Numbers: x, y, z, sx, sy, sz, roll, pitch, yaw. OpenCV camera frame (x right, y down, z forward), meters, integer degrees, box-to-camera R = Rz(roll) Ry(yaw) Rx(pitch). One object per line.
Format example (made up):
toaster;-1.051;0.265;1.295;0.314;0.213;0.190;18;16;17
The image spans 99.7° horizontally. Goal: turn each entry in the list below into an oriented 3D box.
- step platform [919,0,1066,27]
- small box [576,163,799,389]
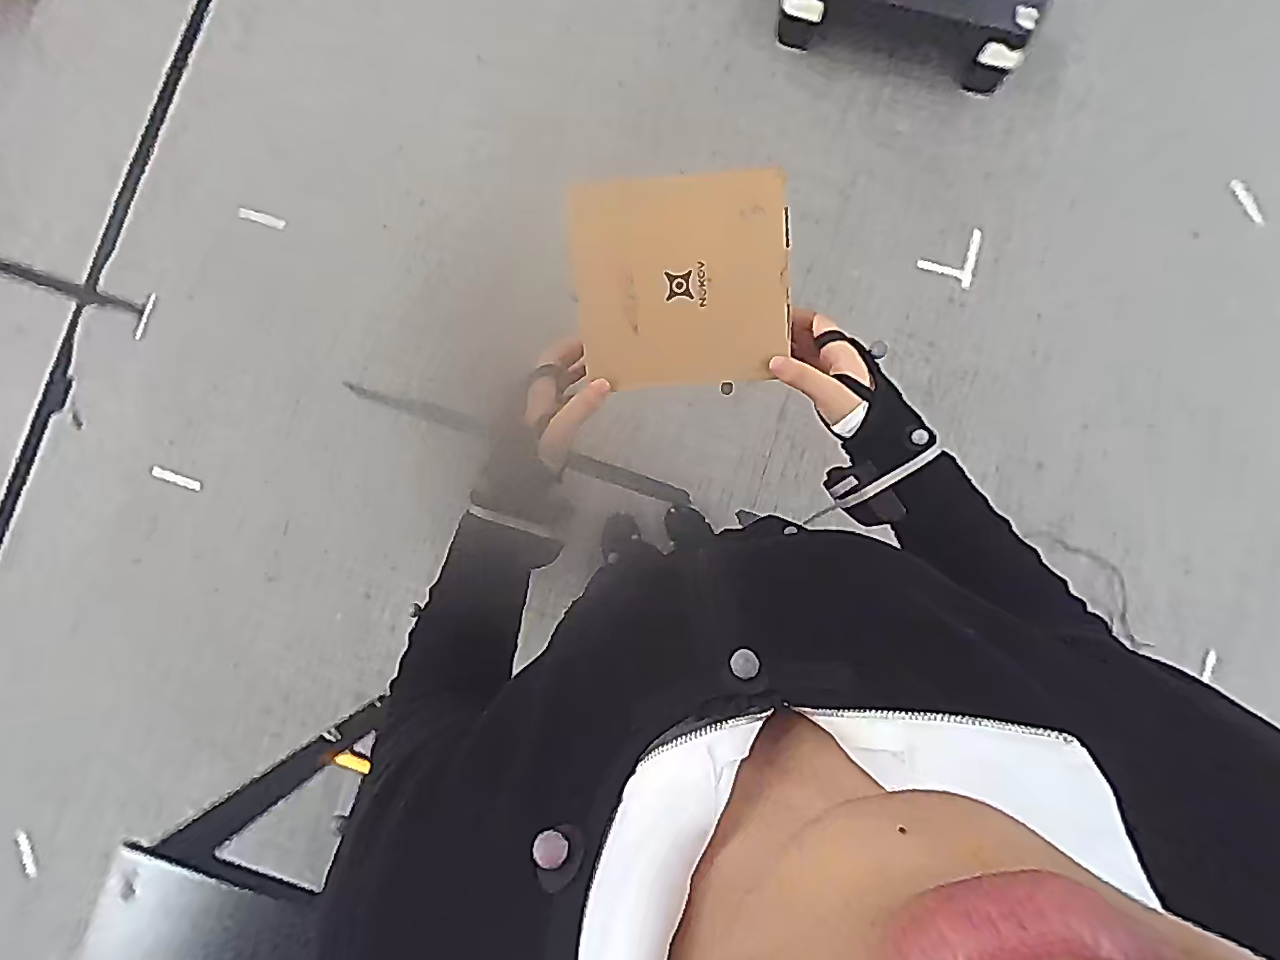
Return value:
step platform;0.734;-1.344;1.285;0.684;0.204;0.286;16;86;2
small box;0.041;-0.180;0.516;0.179;0.176;0.168;-4;102;2
